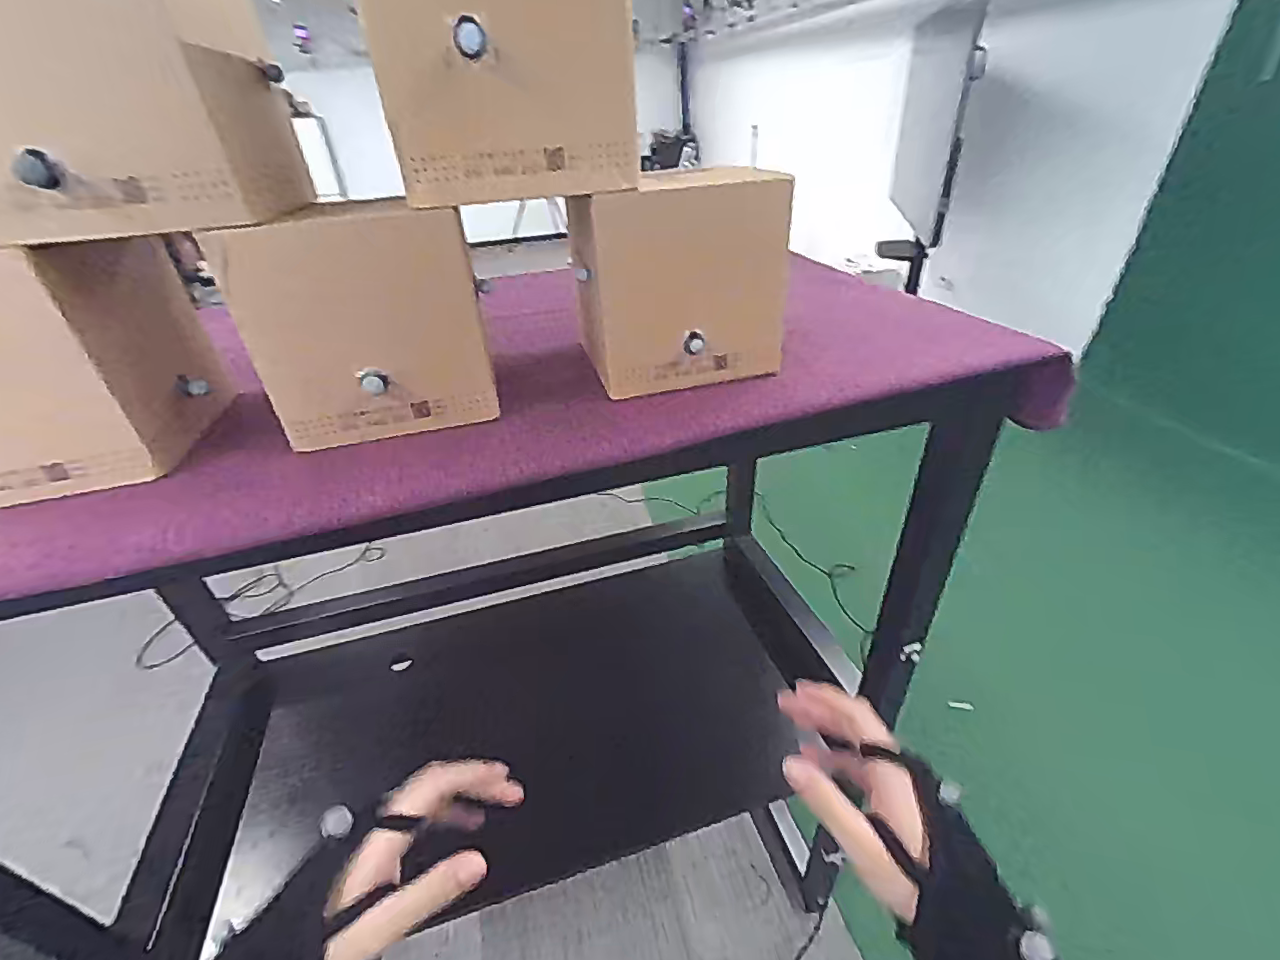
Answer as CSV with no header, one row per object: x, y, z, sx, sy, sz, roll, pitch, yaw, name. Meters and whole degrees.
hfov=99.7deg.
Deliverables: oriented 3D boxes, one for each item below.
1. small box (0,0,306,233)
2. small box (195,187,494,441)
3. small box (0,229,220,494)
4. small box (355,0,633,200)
-0.355,-0.268,0.362,0.168,0.176,0.179,-11,34,-10,small box
-0.229,-0.154,0.474,0.168,0.176,0.179,-12,35,-12,small box
-0.471,-0.103,0.418,0.168,0.176,0.179,-12,33,-13,small box
-0.106,-0.314,0.411,0.168,0.176,0.179,-11,33,-11,small box
